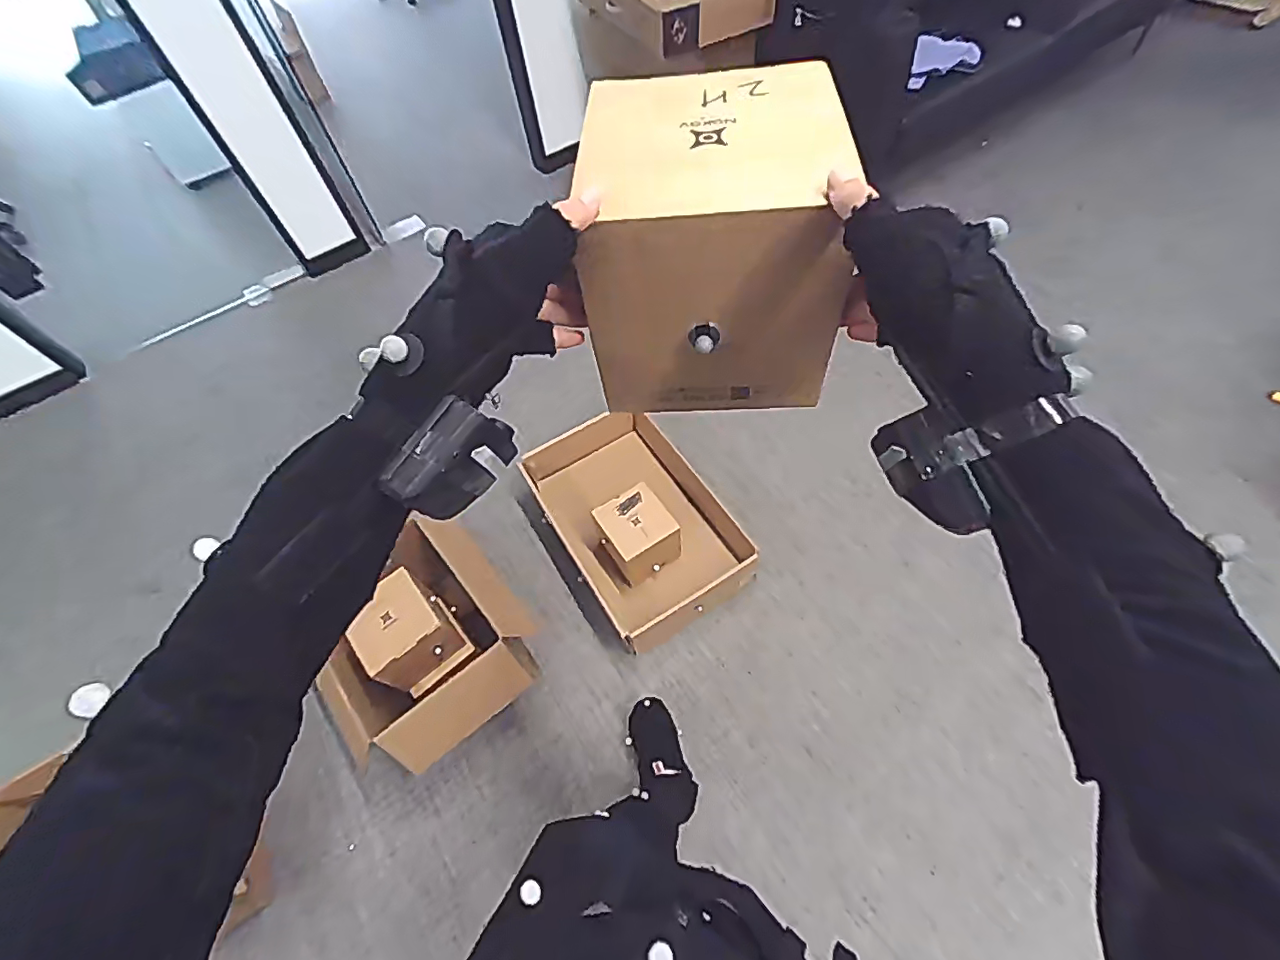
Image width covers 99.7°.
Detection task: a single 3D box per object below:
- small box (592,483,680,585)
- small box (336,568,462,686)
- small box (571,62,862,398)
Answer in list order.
[{"bbox_3d":[-0.008,0.147,1.433,0.168,0.176,0.179,-31,59,-14],"label":"small box"},{"bbox_3d":[-0.525,0.334,1.202,0.168,0.176,0.179,-37,63,-18],"label":"small box"},{"bbox_3d":[0.053,-0.175,0.410,0.168,0.176,0.179,-1,57,6],"label":"small box"}]
